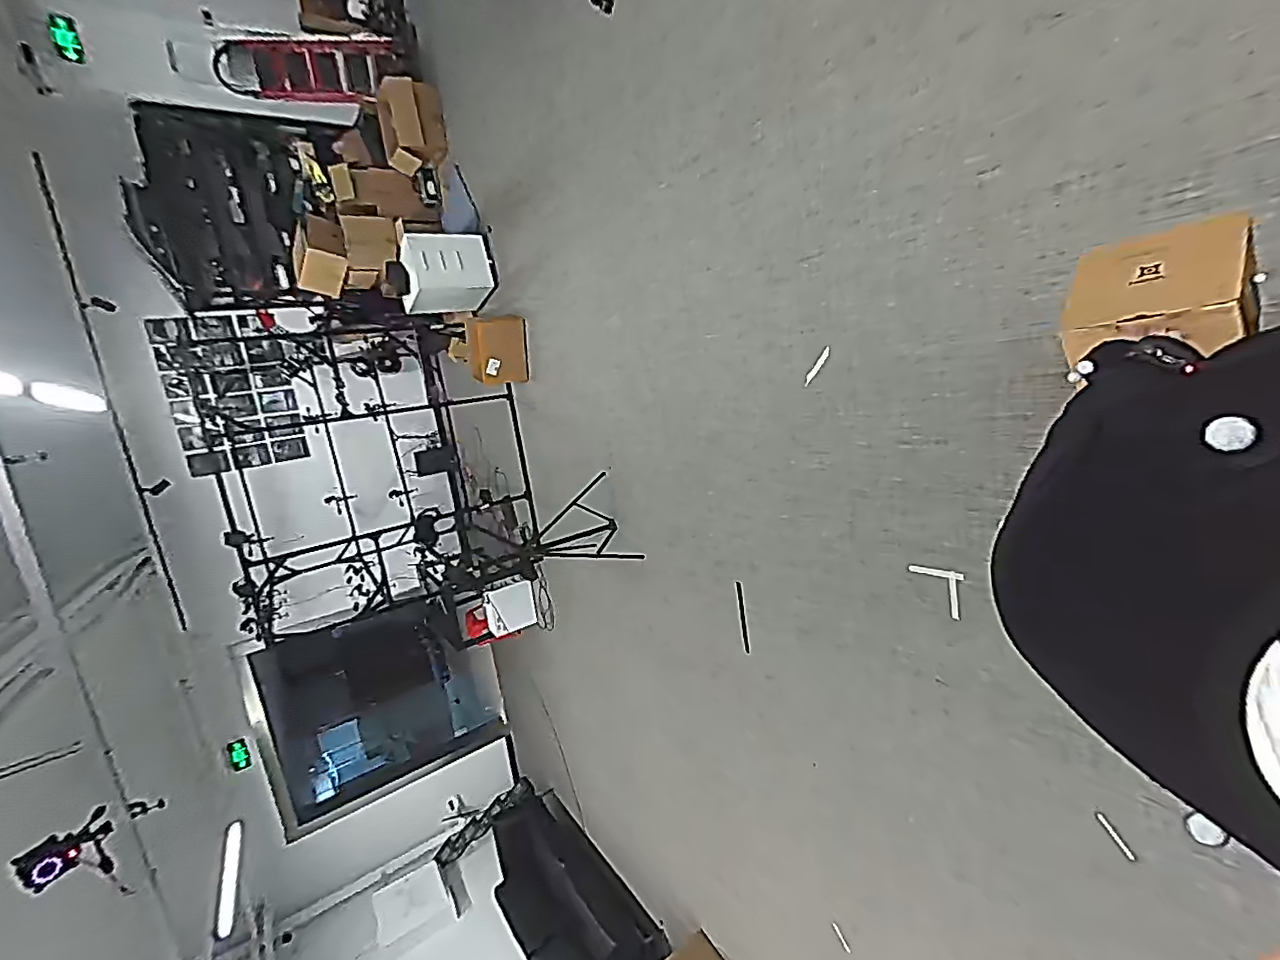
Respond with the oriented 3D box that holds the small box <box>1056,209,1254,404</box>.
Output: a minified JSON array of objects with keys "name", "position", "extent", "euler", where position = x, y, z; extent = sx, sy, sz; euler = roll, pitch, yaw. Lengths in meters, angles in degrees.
[{"name":"small box","position":[0.700,-0.217,0.733],"extent":[0.176,0.179,0.168],"euler":[44,156,-30]}]
